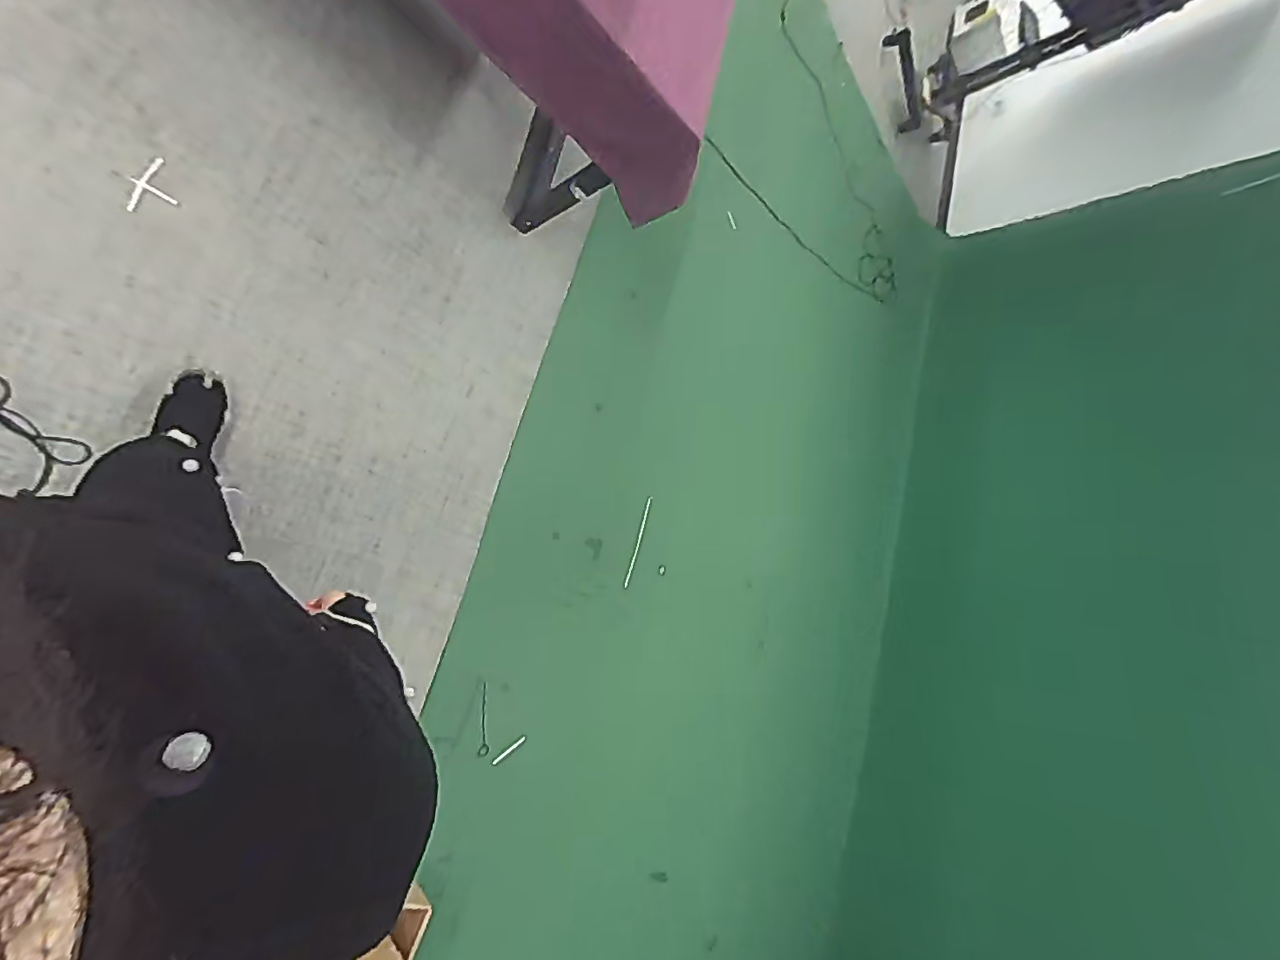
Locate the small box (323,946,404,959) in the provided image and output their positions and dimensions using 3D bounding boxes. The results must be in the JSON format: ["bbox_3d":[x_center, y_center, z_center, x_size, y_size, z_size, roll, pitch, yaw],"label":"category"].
[{"bbox_3d":[-0.601,1.140,1.152,0.179,0.176,0.168,36,66,-38],"label":"small box"}]
